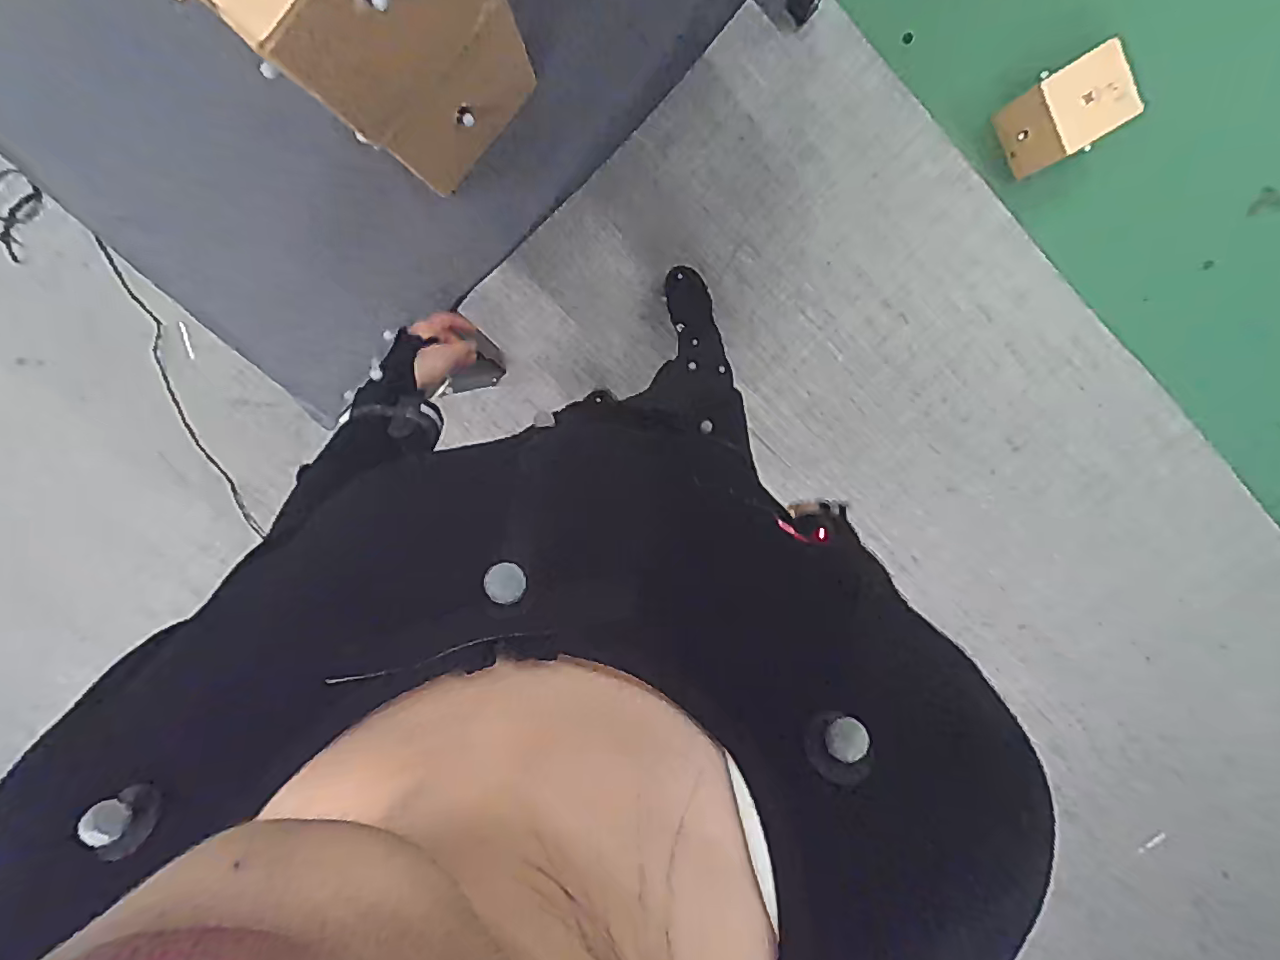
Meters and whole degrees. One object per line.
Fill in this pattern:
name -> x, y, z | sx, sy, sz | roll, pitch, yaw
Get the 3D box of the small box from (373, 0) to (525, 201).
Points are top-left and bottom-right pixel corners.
small box -> -0.238, -0.431, 0.556 | 0.168, 0.176, 0.179 | 43, 99, -8

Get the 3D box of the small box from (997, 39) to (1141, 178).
small box -> 0.950, -0.822, 1.220 | 0.179, 0.176, 0.168 | -30, 102, 6
